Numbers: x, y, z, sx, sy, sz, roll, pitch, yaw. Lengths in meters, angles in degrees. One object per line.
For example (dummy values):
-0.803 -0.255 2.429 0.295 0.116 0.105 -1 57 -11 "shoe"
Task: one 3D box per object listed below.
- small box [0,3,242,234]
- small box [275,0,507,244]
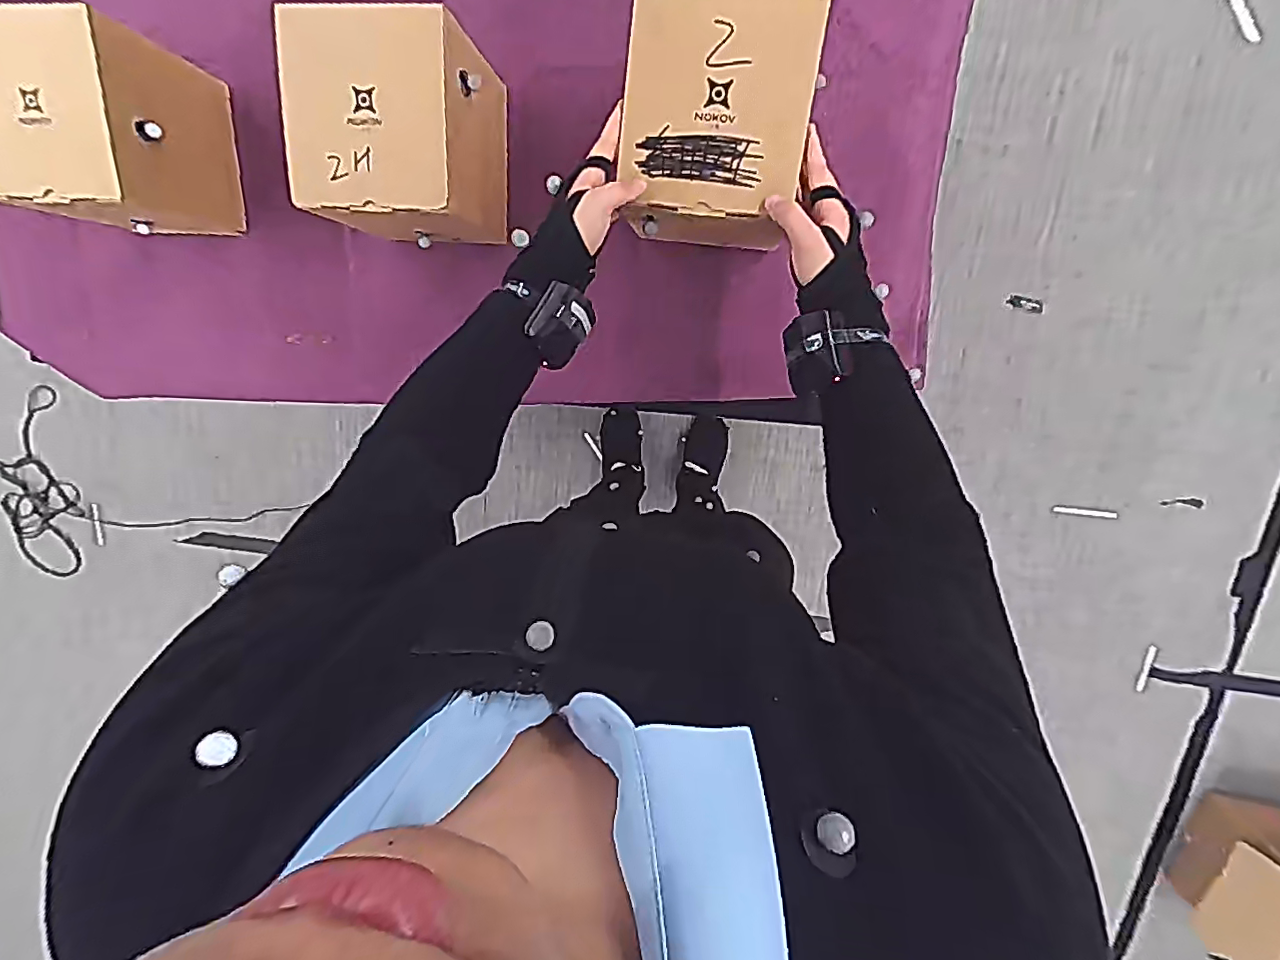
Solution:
-0.604 -0.395 0.619 0.168 0.176 0.179 3 105 4 "small box"
-0.252 -0.369 0.588 0.168 0.176 0.179 5 105 5 "small box"
